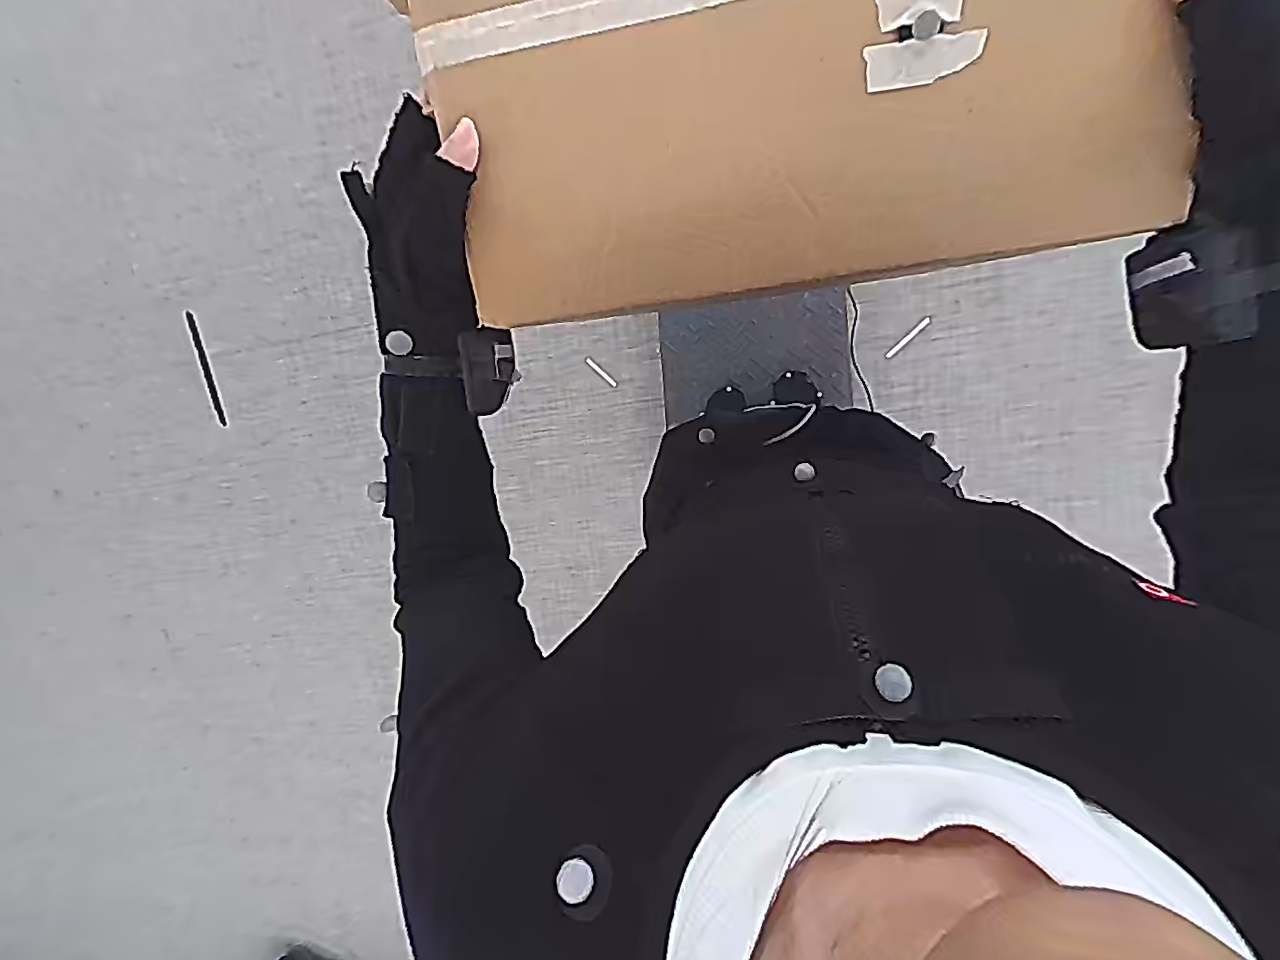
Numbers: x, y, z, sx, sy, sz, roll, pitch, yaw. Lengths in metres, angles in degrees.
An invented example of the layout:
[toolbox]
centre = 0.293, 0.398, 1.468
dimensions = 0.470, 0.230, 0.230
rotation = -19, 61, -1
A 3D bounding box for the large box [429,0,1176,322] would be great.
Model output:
[large box]
centre = 0.090, -0.318, 0.437
dimensions = 0.408, 0.320, 0.320
rotation = -6, 107, 8
